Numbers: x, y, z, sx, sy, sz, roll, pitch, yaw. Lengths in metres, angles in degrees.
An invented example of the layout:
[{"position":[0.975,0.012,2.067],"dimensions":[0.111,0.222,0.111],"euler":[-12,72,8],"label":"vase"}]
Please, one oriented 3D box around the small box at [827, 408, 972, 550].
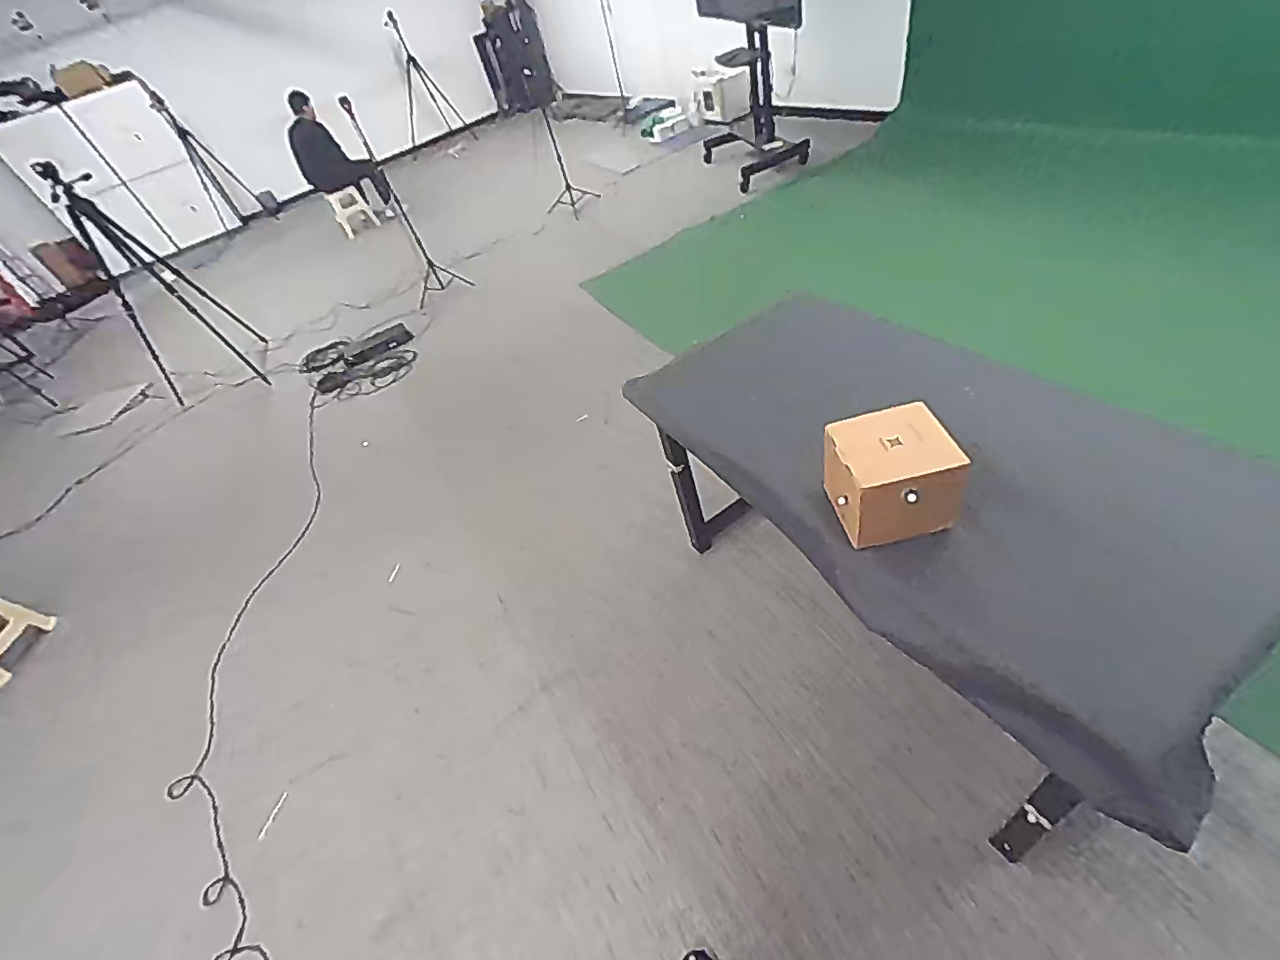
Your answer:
[{"position":[0.446,0.003,0.959],"dimensions":[0.179,0.176,0.168],"euler":[-13,45,4],"label":"small box"}]
